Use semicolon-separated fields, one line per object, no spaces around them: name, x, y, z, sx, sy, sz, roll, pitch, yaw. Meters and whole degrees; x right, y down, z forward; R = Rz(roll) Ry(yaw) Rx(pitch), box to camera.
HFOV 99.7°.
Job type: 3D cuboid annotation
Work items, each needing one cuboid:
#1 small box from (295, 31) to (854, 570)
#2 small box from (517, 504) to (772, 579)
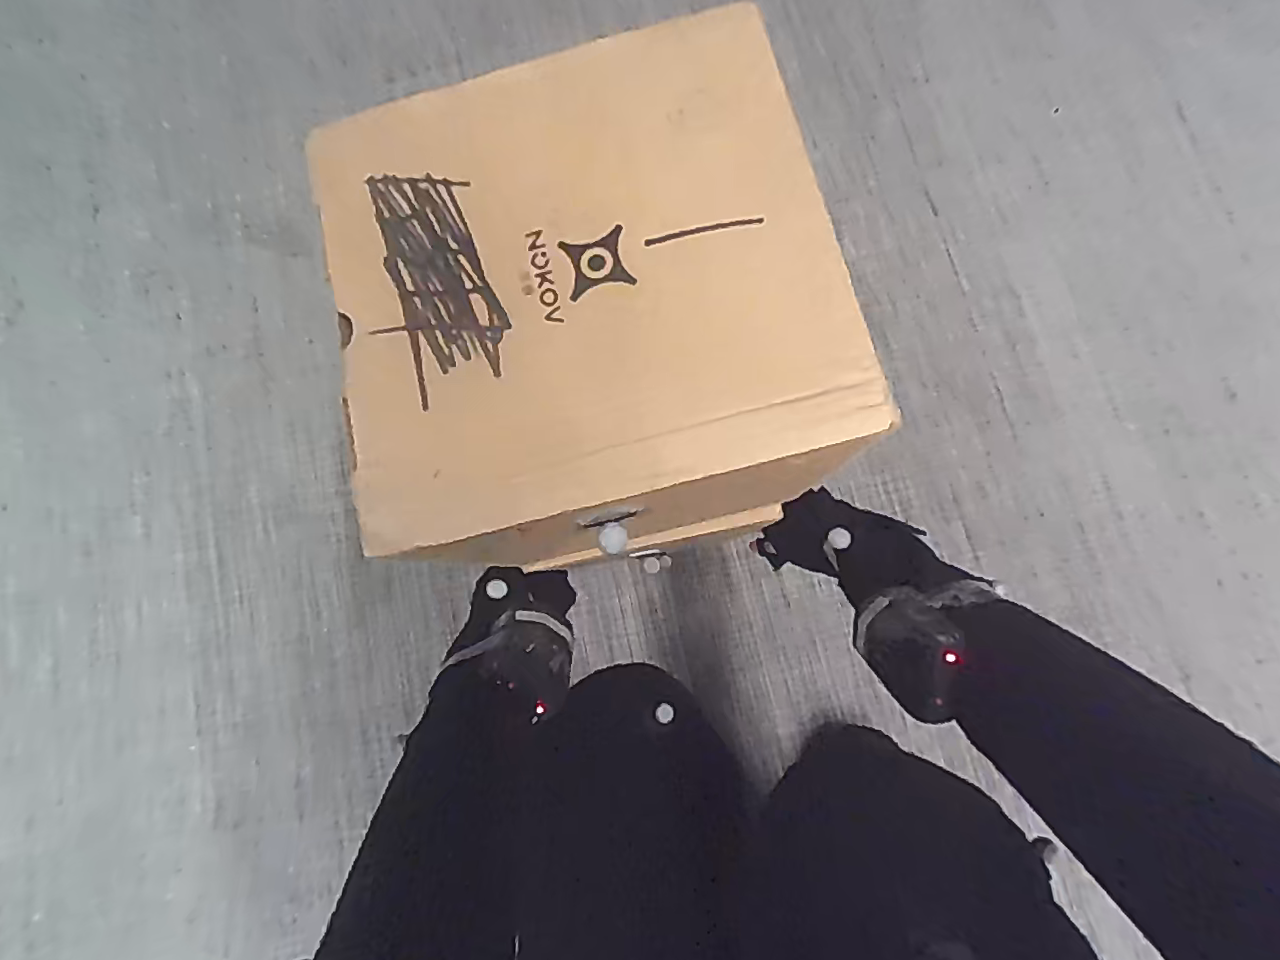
small box;-0.024;-0.052;0.266;0.179;0.176;0.168;-14;80;4
small box;-0.006;-0.024;0.427;0.168;0.176;0.179;-13;81;4
